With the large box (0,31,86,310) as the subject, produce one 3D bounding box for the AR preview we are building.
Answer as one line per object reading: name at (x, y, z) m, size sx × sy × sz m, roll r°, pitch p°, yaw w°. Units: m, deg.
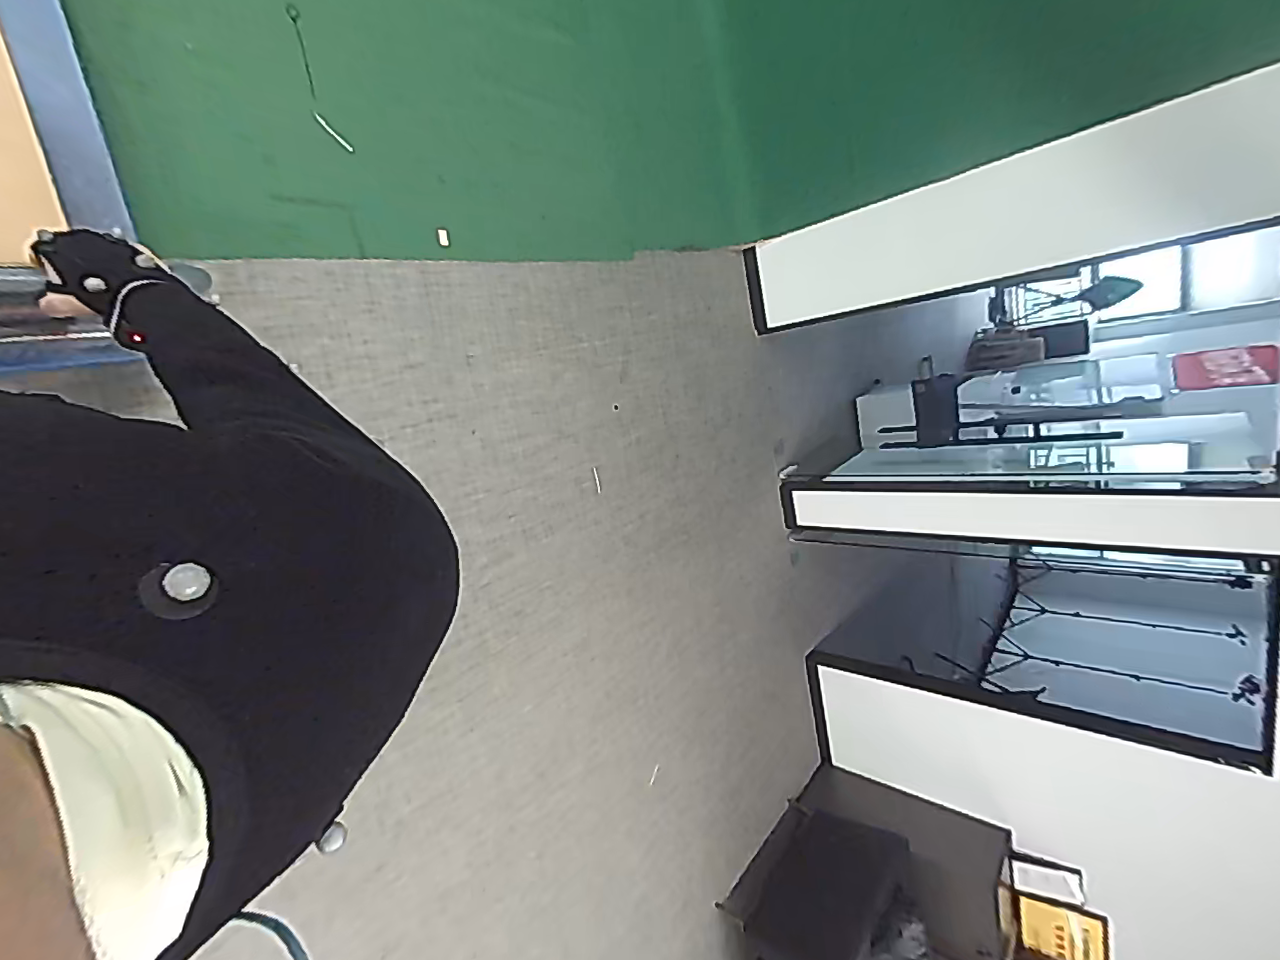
large box at (-1.113, -0.484, 0.808) m, size 0.320 × 0.320 × 0.408 m, roll -21°, pitch 104°, yaw -44°
